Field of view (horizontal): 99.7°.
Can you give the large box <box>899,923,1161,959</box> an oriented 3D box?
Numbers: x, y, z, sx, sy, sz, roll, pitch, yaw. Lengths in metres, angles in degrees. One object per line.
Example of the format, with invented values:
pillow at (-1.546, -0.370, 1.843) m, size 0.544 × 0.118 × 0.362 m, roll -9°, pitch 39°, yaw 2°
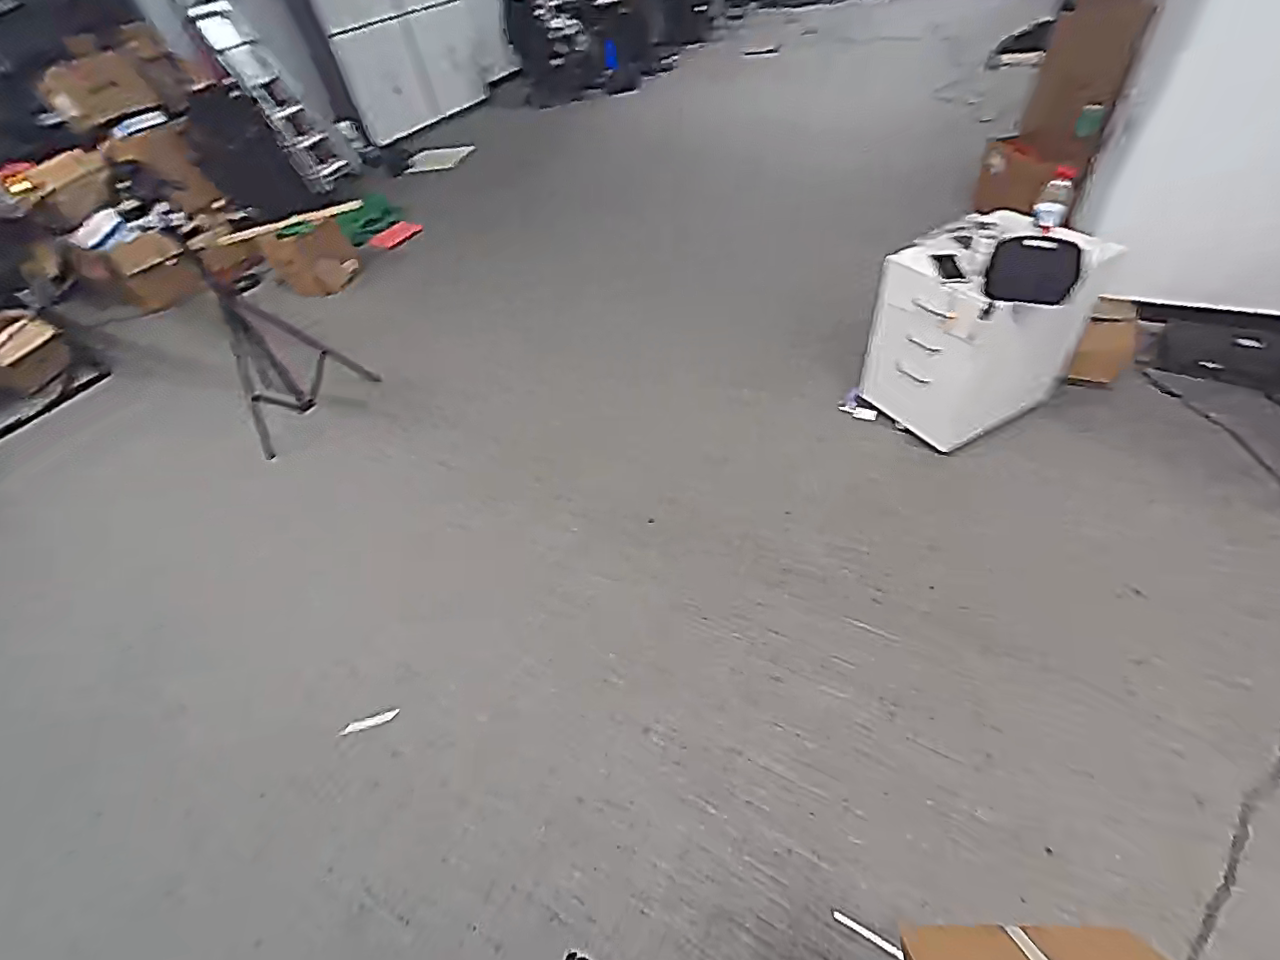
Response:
large box at (0.516, 0.754, 0.568) m, size 0.320 × 0.408 × 0.320 m, roll -9°, pitch 75°, yaw 9°
